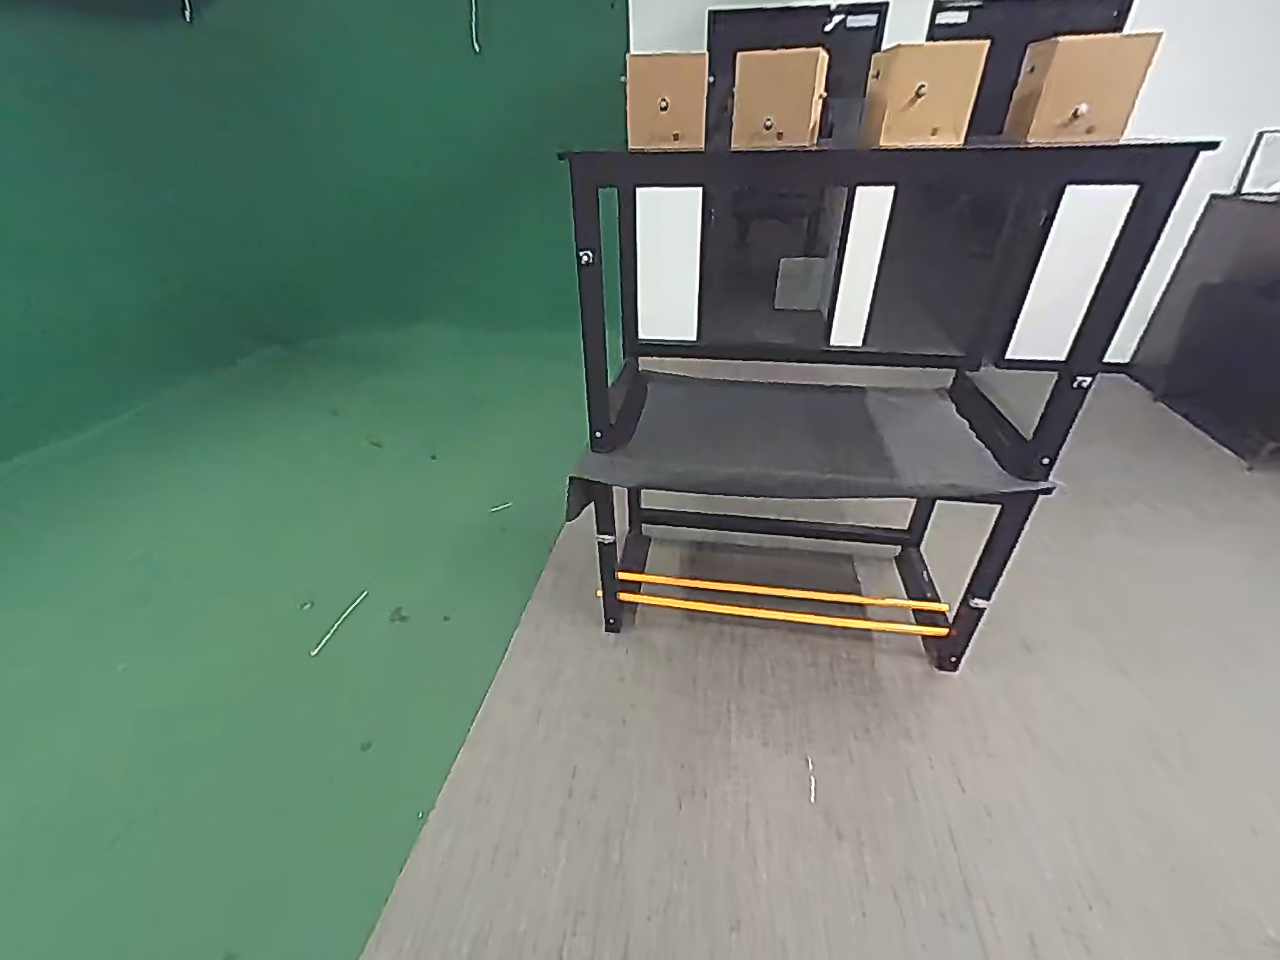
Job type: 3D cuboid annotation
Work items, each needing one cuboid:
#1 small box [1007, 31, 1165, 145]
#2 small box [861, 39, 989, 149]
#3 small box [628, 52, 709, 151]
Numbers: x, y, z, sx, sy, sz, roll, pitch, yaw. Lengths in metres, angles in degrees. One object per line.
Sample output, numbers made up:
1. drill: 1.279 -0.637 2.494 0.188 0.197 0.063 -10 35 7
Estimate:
1. small box: 0.864 -0.770 1.074 0.168 0.176 0.179 7 35 13
2. small box: 0.574 -0.785 1.113 0.168 0.176 0.179 1 33 4
3. small box: 0.067 -0.830 1.195 0.168 0.176 0.179 3 33 5
